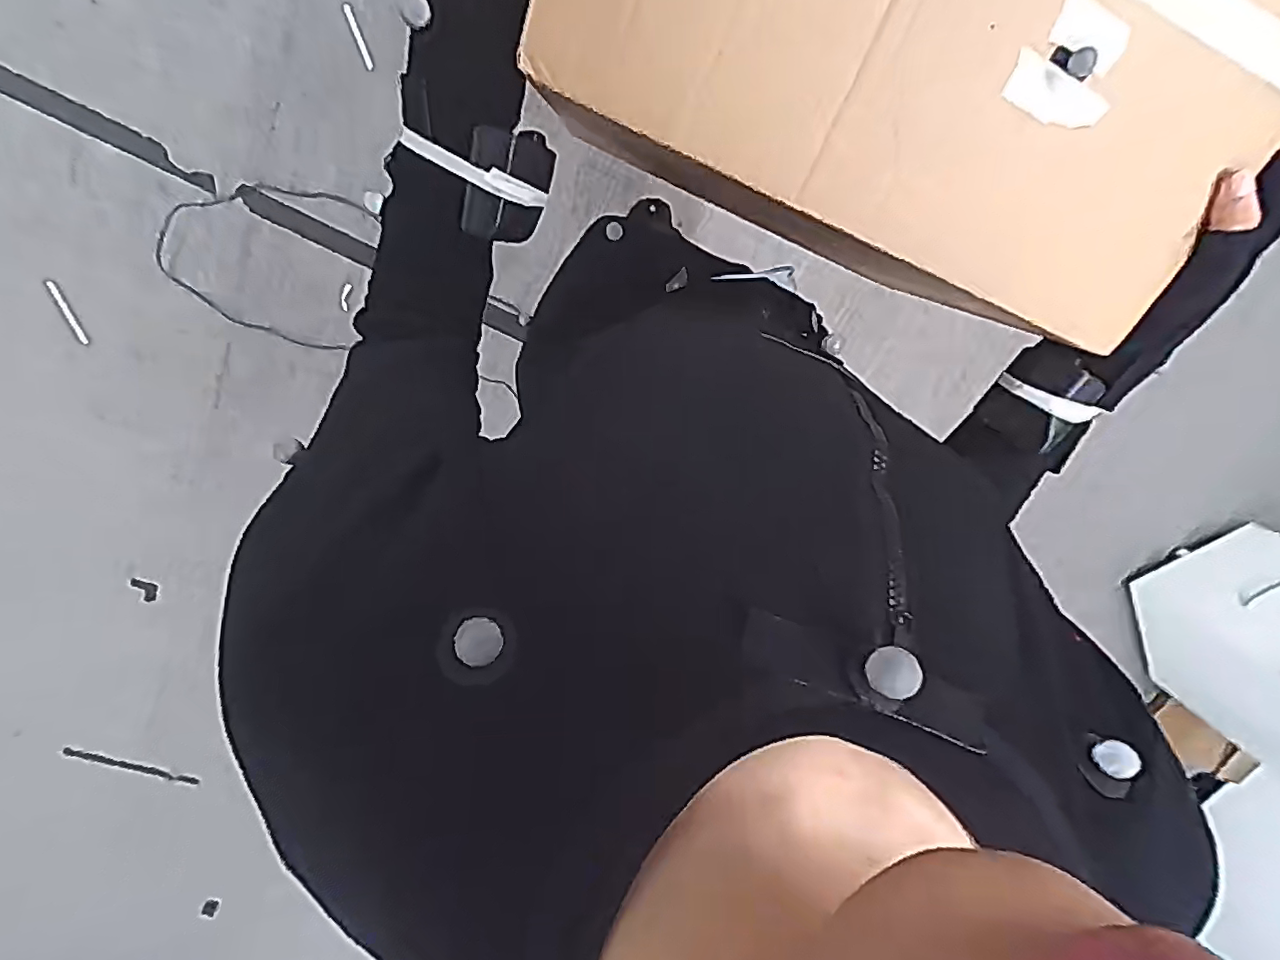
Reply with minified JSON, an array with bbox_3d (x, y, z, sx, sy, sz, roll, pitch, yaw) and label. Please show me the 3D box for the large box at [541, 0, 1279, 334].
[{"bbox_3d":[0.176,-0.354,0.401,0.408,0.320,0.320,19,116,-12],"label":"large box"}]
